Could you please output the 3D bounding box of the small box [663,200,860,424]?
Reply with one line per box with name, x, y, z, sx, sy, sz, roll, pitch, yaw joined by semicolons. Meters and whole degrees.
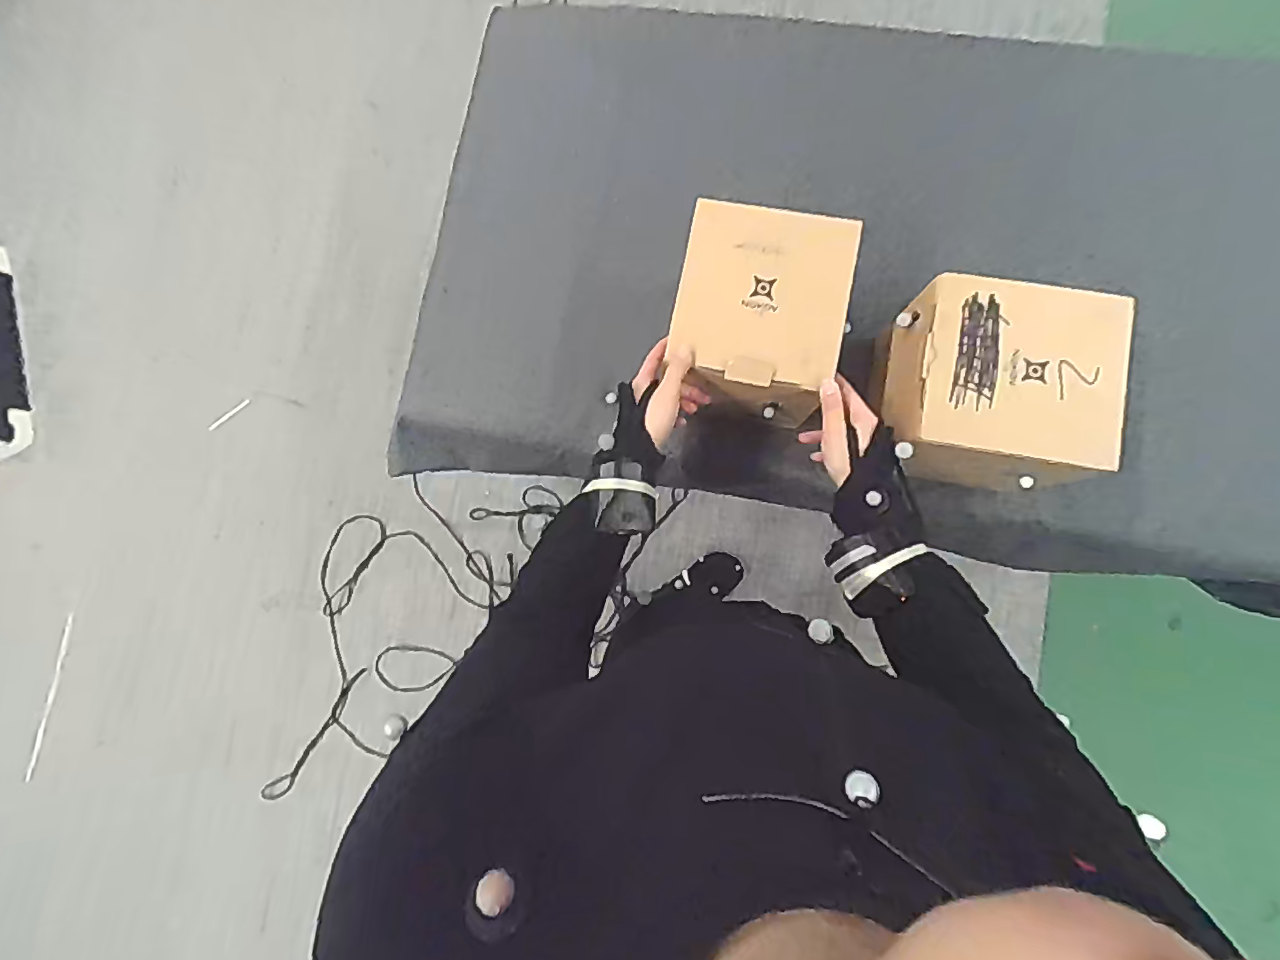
small box;0.125;-0.172;0.604;0.168;0.176;0.179;11;83;5
